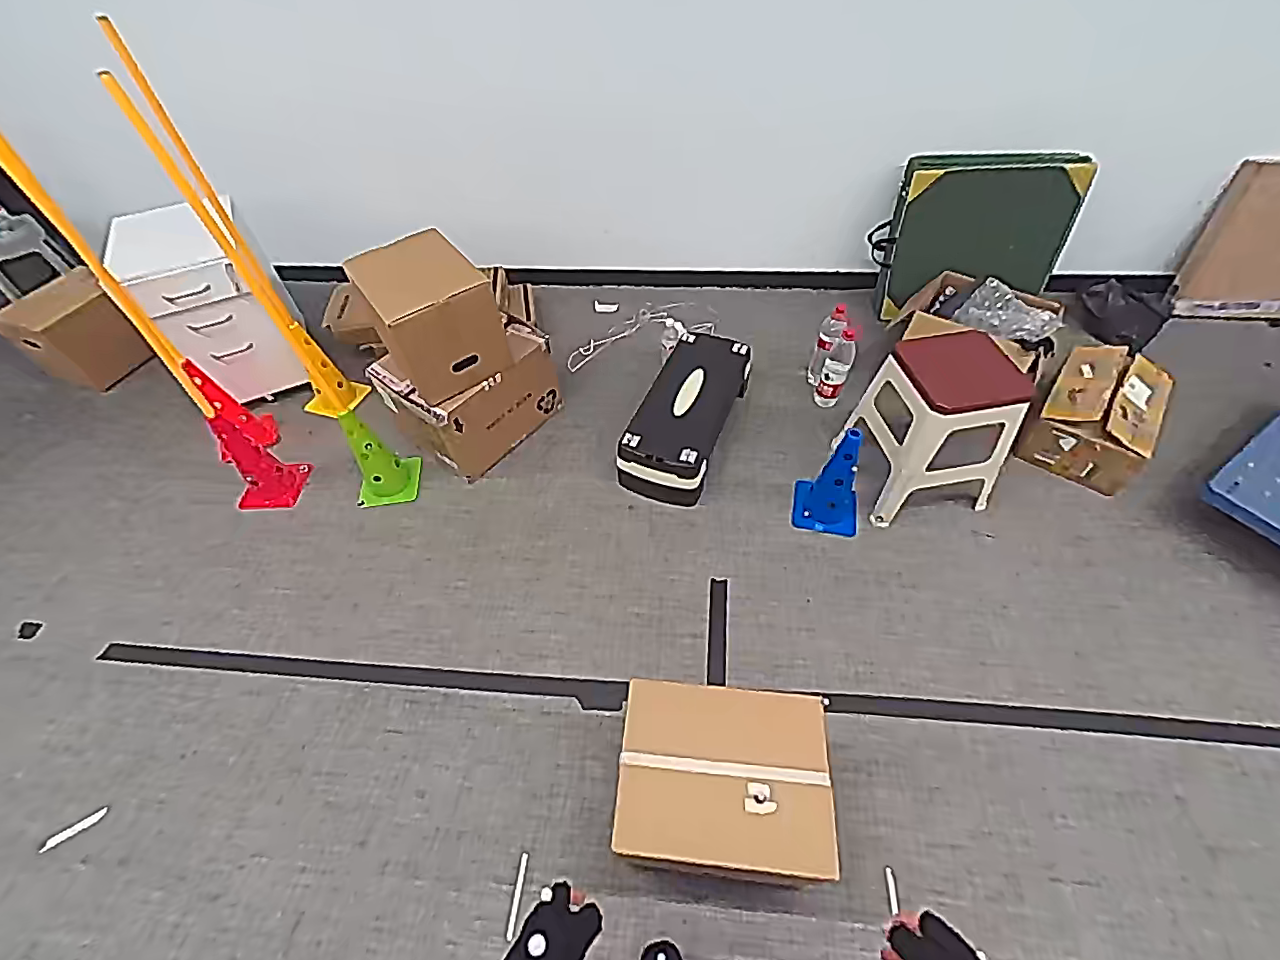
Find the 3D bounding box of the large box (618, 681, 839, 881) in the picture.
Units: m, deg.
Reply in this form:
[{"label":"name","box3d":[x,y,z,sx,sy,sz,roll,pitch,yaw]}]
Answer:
[{"label":"large box","box3d":[0.169,0.655,1.171,0.408,0.320,0.320,4,52,4]}]
